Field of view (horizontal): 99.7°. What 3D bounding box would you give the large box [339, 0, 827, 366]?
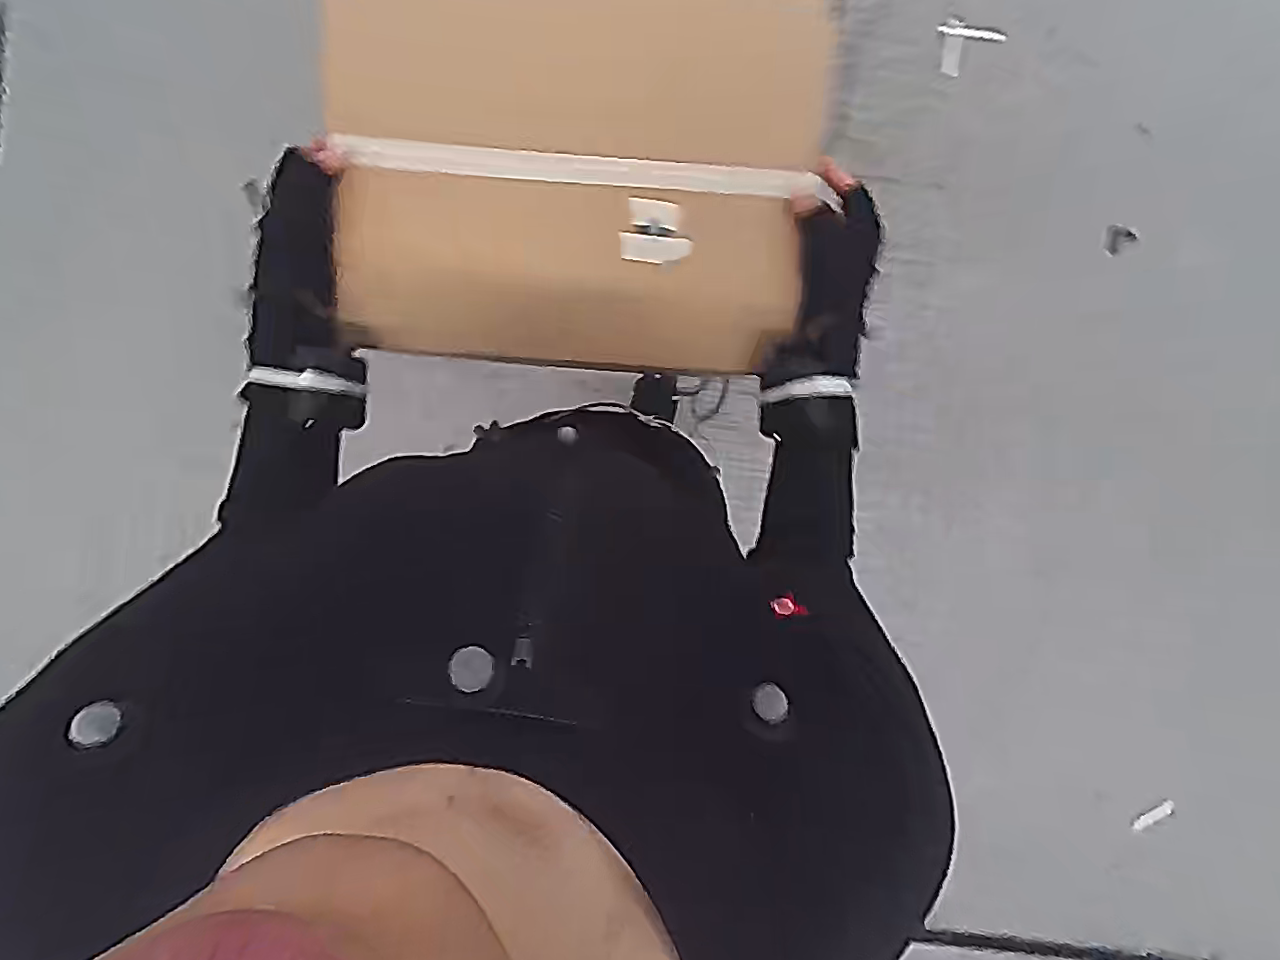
[{"bbox_3d":[-0.058,-0.296,0.608,0.408,0.320,0.320,2,101,-4],"label":"large box"}]
